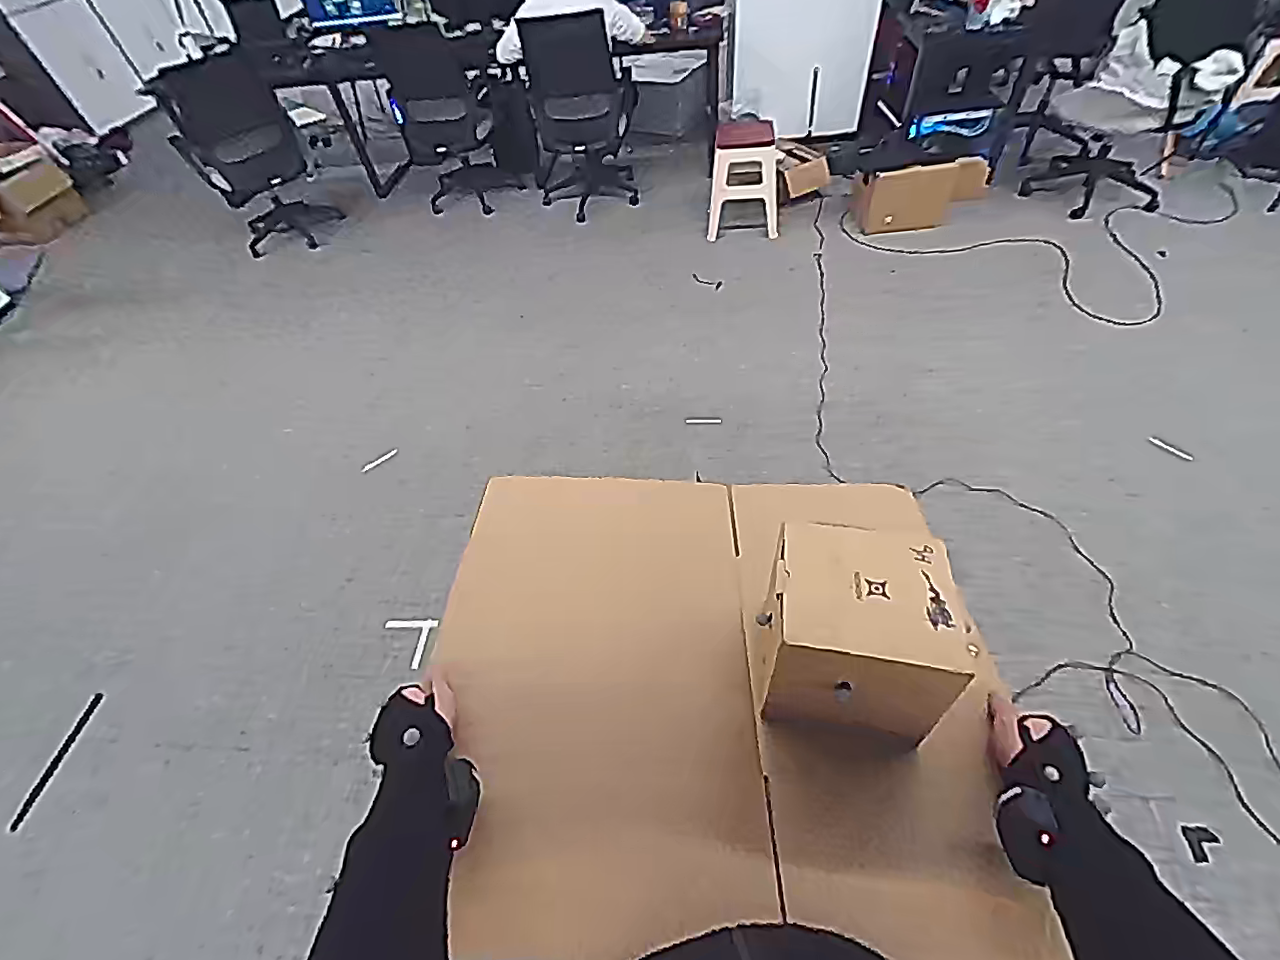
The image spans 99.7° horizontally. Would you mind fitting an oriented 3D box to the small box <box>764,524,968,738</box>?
[{"bbox_3d":[0.241,0.174,0.624,0.179,0.176,0.168,6,45,11],"label":"small box"}]
